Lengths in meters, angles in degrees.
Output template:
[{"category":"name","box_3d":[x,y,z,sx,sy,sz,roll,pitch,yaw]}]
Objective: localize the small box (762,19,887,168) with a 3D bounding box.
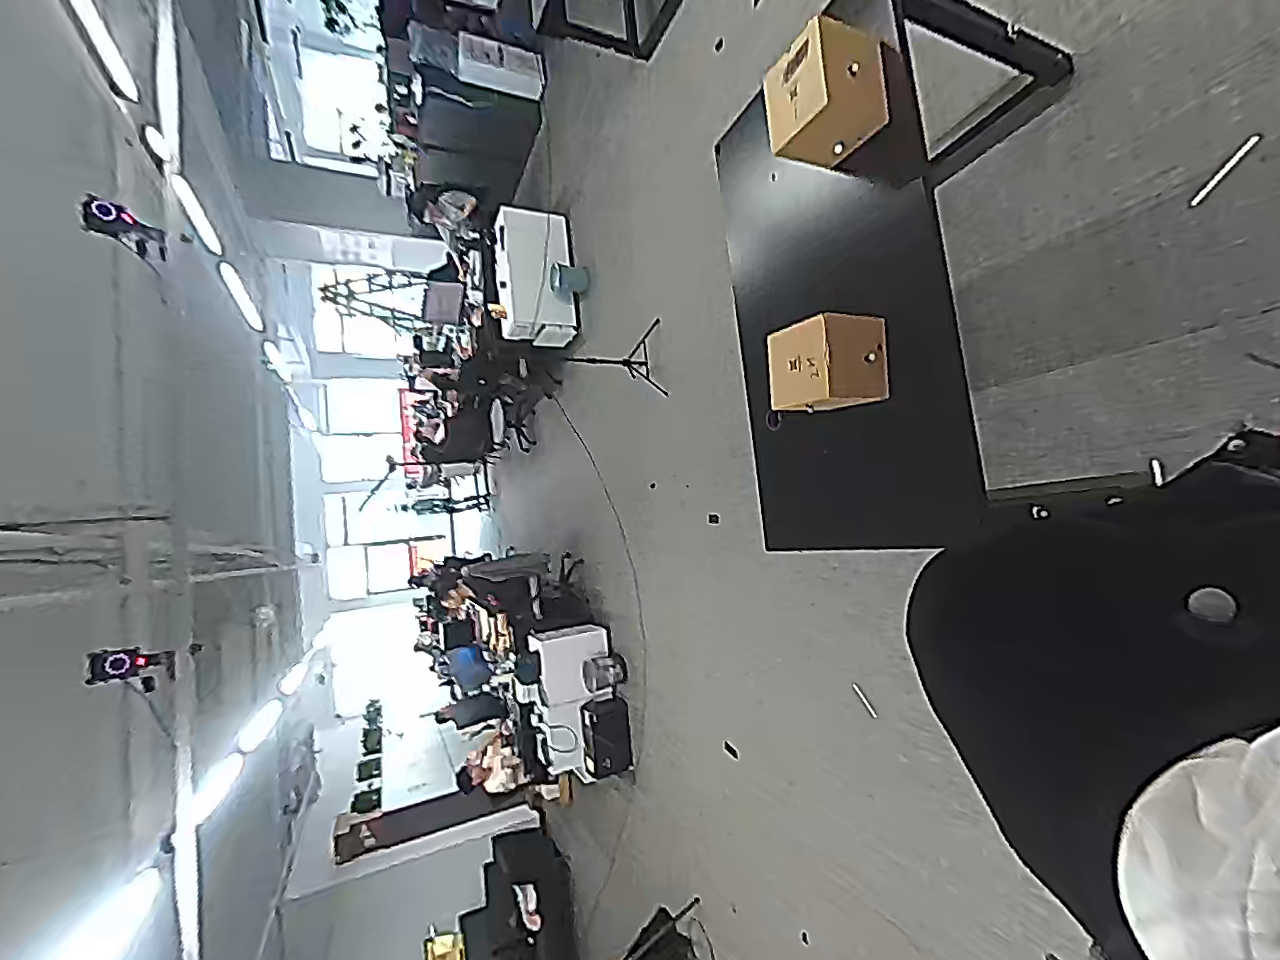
[{"category":"small box","box_3d":[0.378,-0.780,1.114,0.168,0.176,0.179,168,96,-65]}]

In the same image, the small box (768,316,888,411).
[{"category":"small box","box_3d":[0.398,-0.238,1.152,0.179,0.176,0.168,177,89,-65]}]
